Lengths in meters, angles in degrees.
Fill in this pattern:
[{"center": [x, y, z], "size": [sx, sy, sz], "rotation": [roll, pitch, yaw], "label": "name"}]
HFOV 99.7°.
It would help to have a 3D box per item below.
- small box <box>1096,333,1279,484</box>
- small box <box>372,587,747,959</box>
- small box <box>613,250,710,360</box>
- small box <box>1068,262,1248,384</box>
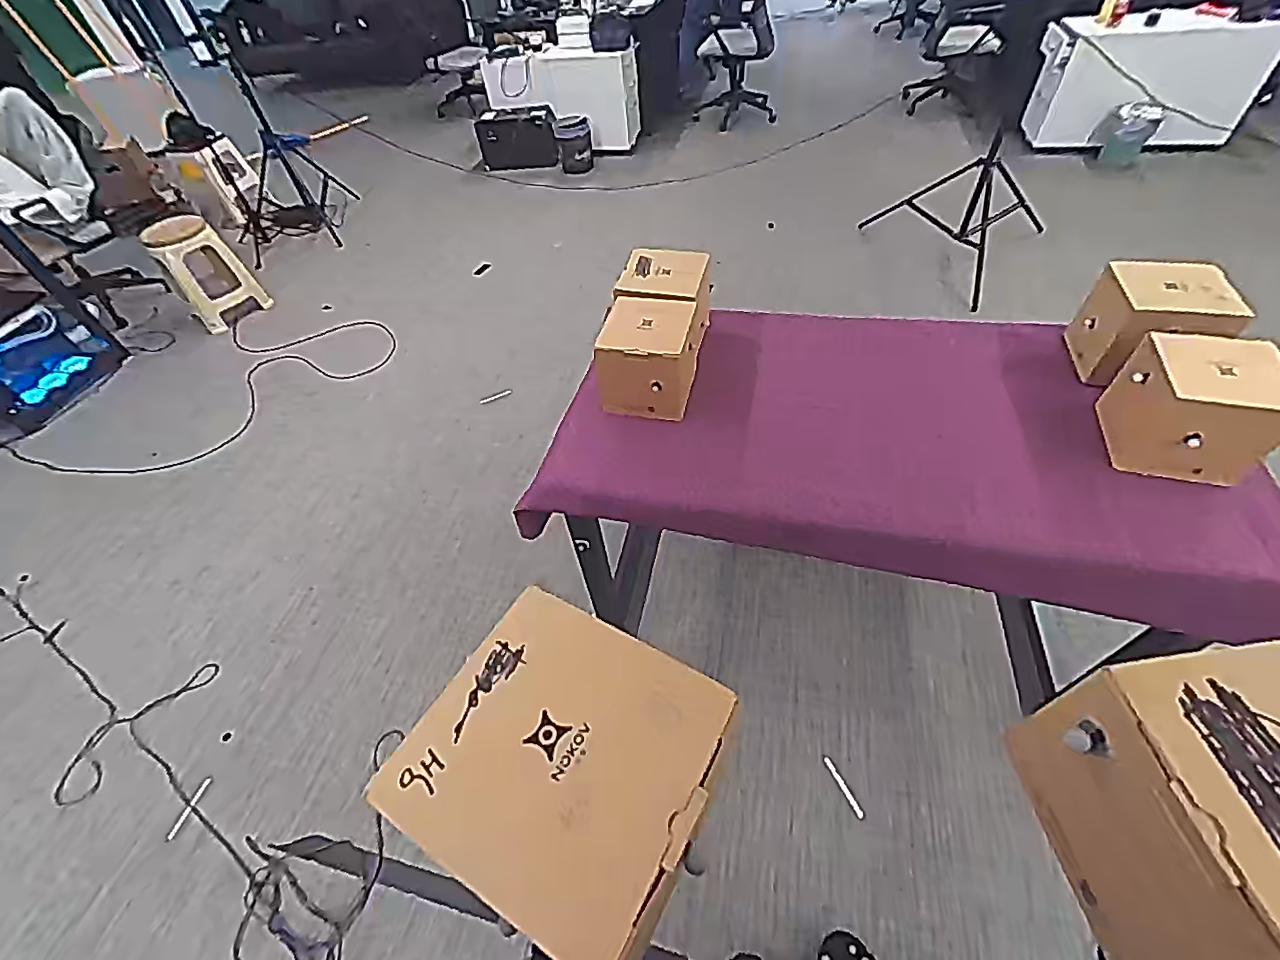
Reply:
[{"center": [0.900, -0.116, 0.890], "size": [0.168, 0.176, 0.179], "rotation": [11, 51, 16], "label": "small box"}, {"center": [-0.043, 0.216, 0.394], "size": [0.179, 0.176, 0.168], "rotation": [23, 53, 21], "label": "small box"}, {"center": [0.053, -0.388, 1.206], "size": [0.179, 0.176, 0.168], "rotation": [10, 54, 12], "label": "small box"}, {"center": [0.951, -0.289, 1.022], "size": [0.179, 0.176, 0.168], "rotation": [9, 52, 12], "label": "small box"}]
